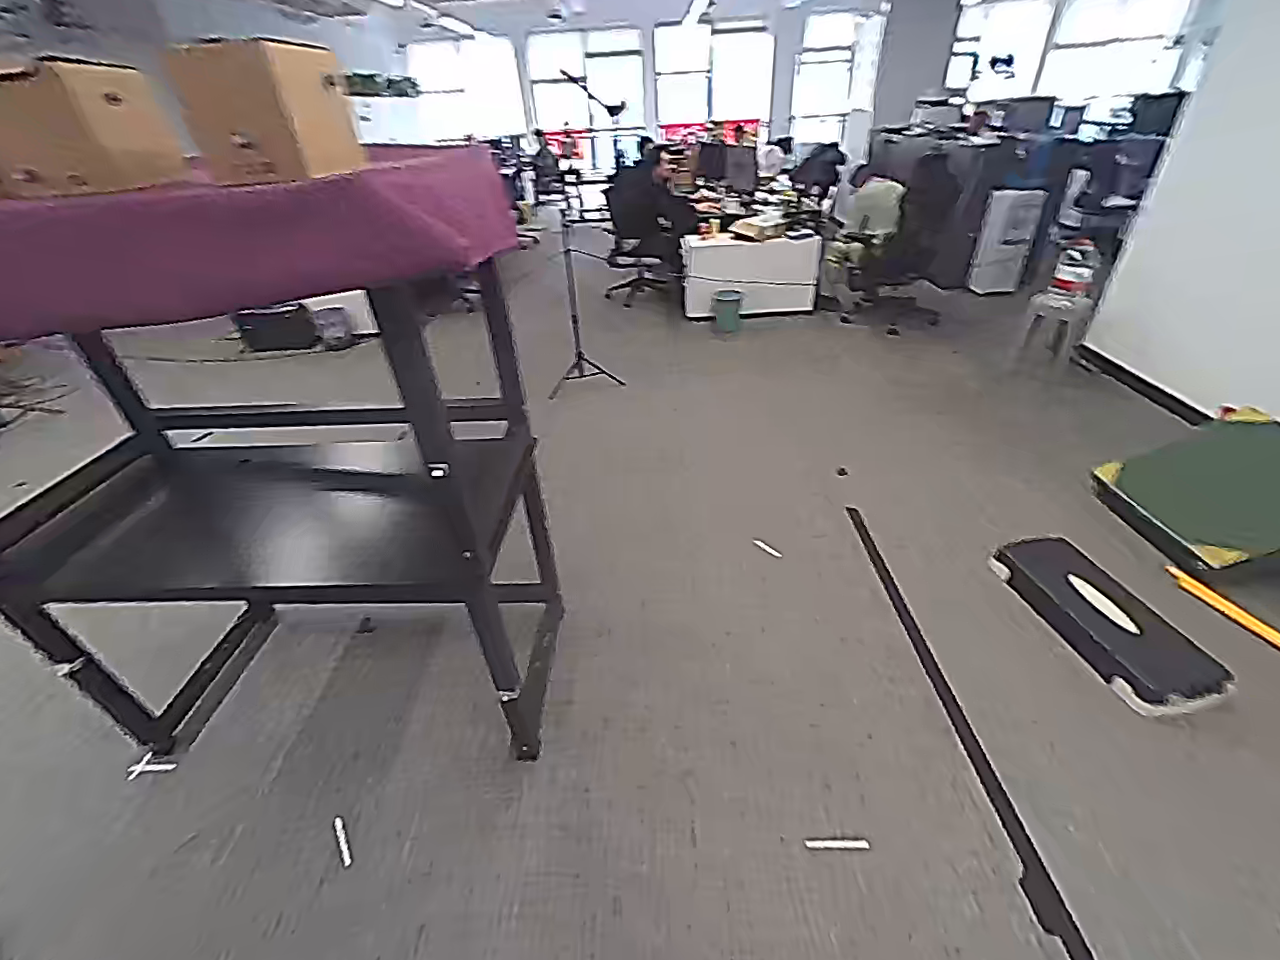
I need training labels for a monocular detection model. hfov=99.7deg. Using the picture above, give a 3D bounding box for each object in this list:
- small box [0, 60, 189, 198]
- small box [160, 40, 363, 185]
[{"bbox_3d":[-0.892,-0.559,0.873,0.168,0.176,0.179,-4,33,-1],"label":"small box"},{"bbox_3d":[-0.562,-0.561,0.838,0.168,0.176,0.179,0,34,7],"label":"small box"}]
